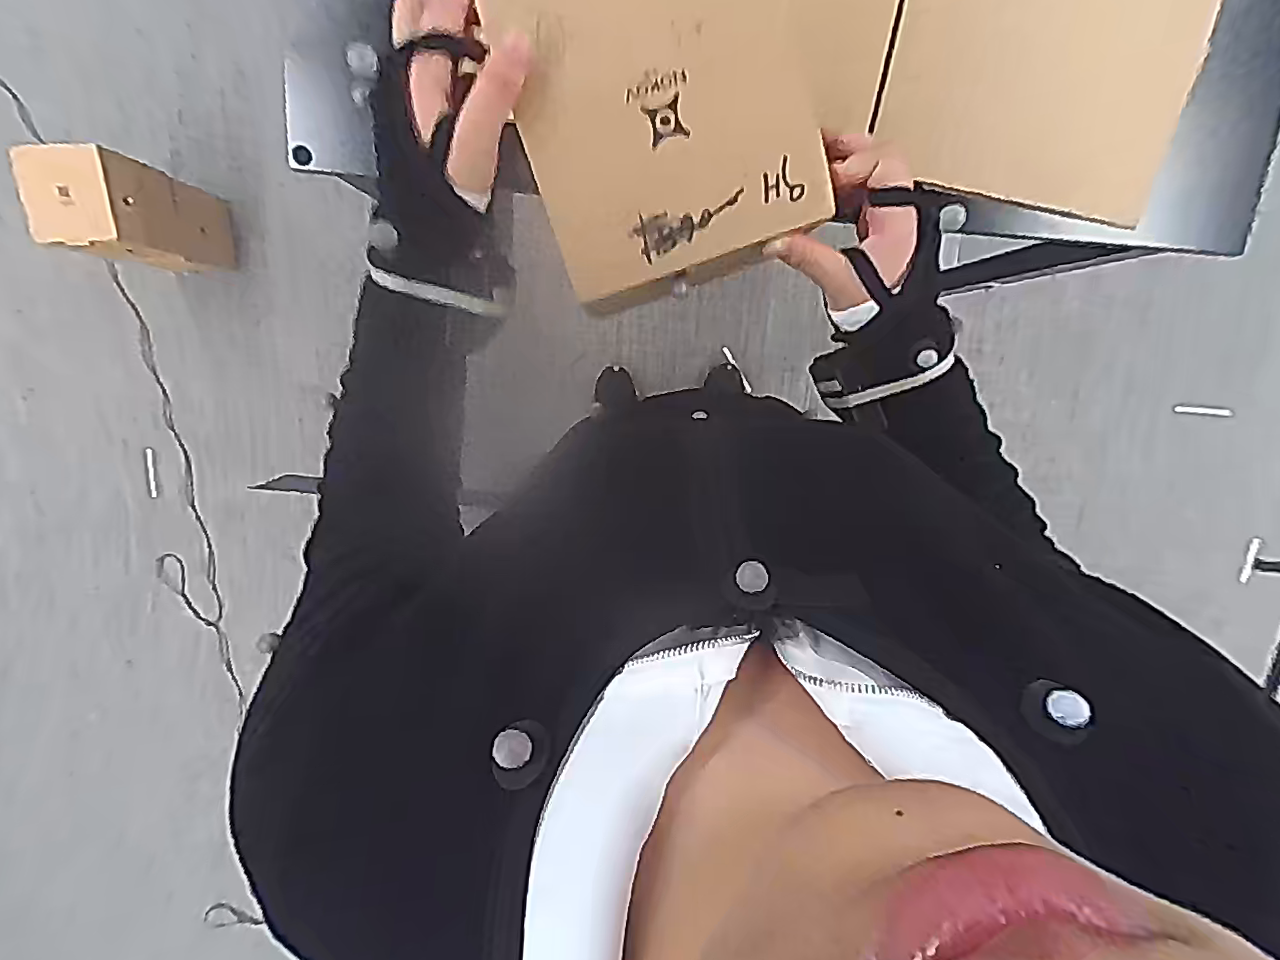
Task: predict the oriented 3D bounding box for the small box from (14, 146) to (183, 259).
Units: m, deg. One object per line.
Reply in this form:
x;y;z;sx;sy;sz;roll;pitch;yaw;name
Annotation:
-1.104;-0.562;1.121;0.168;0.176;0.179;-3;101;-1;small box

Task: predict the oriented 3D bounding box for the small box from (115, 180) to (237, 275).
-1.103;-0.592;1.281;0.168;0.176;0.179;0;103;0;small box
